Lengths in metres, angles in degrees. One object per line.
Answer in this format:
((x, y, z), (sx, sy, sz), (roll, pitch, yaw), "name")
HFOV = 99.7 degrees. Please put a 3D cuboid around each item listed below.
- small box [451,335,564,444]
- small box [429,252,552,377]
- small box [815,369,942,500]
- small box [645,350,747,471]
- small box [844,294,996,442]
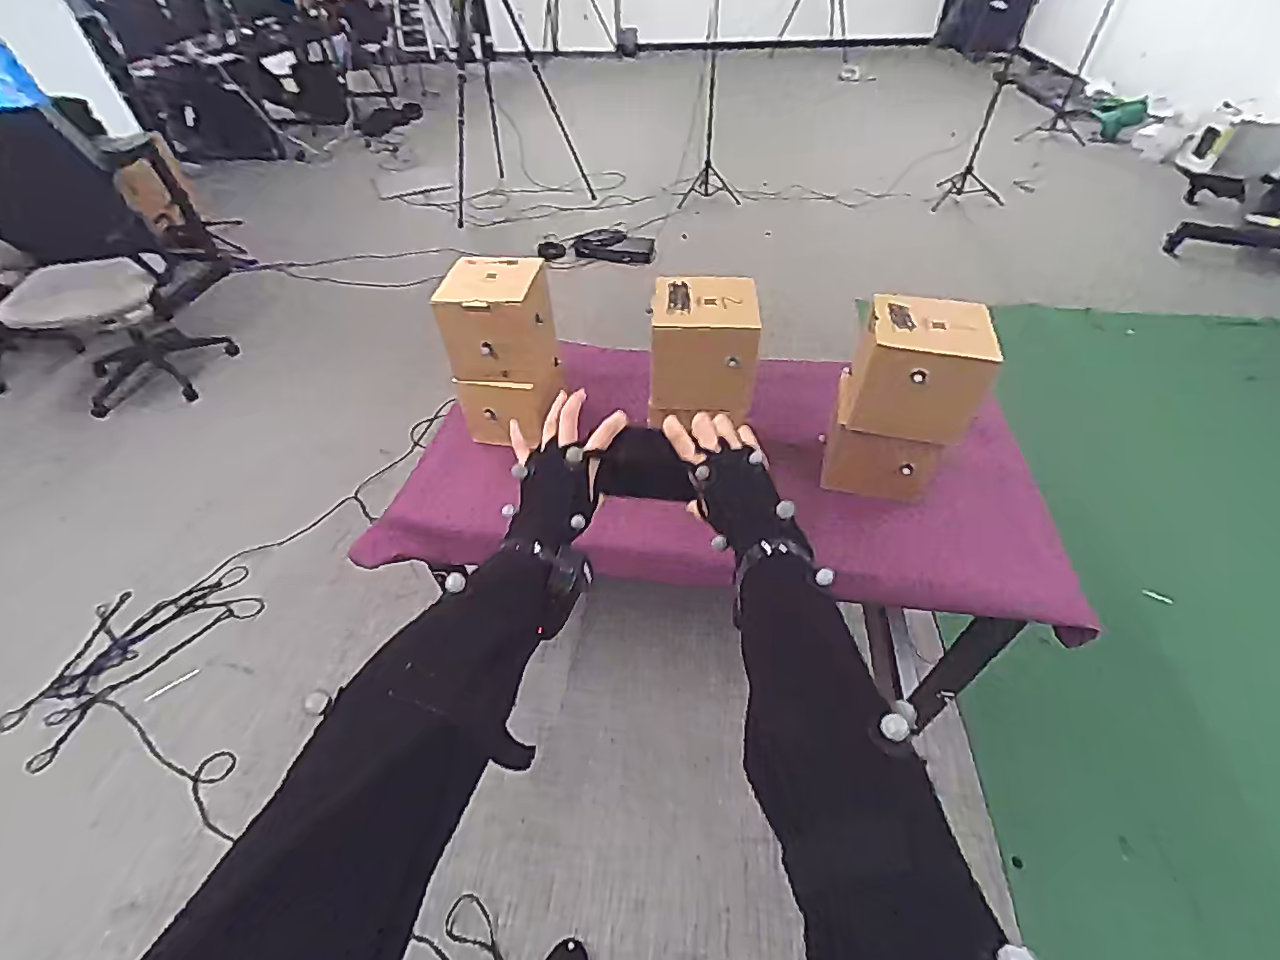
((-0.268, -0.196, 1.149), (0.168, 0.176, 0.179), (7, 48, 9), "small box")
((-0.271, -0.314, 1.034), (0.168, 0.176, 0.179), (4, 48, 5), "small box")
((0.443, -0.083, 1.020), (0.179, 0.176, 0.168), (12, 48, 13), "small box")
((0.111, -0.135, 1.078), (0.179, 0.176, 0.168), (7, 48, 8), "small box")
((0.444, -0.182, 0.889), (0.179, 0.176, 0.168), (12, 48, 12), "small box")
